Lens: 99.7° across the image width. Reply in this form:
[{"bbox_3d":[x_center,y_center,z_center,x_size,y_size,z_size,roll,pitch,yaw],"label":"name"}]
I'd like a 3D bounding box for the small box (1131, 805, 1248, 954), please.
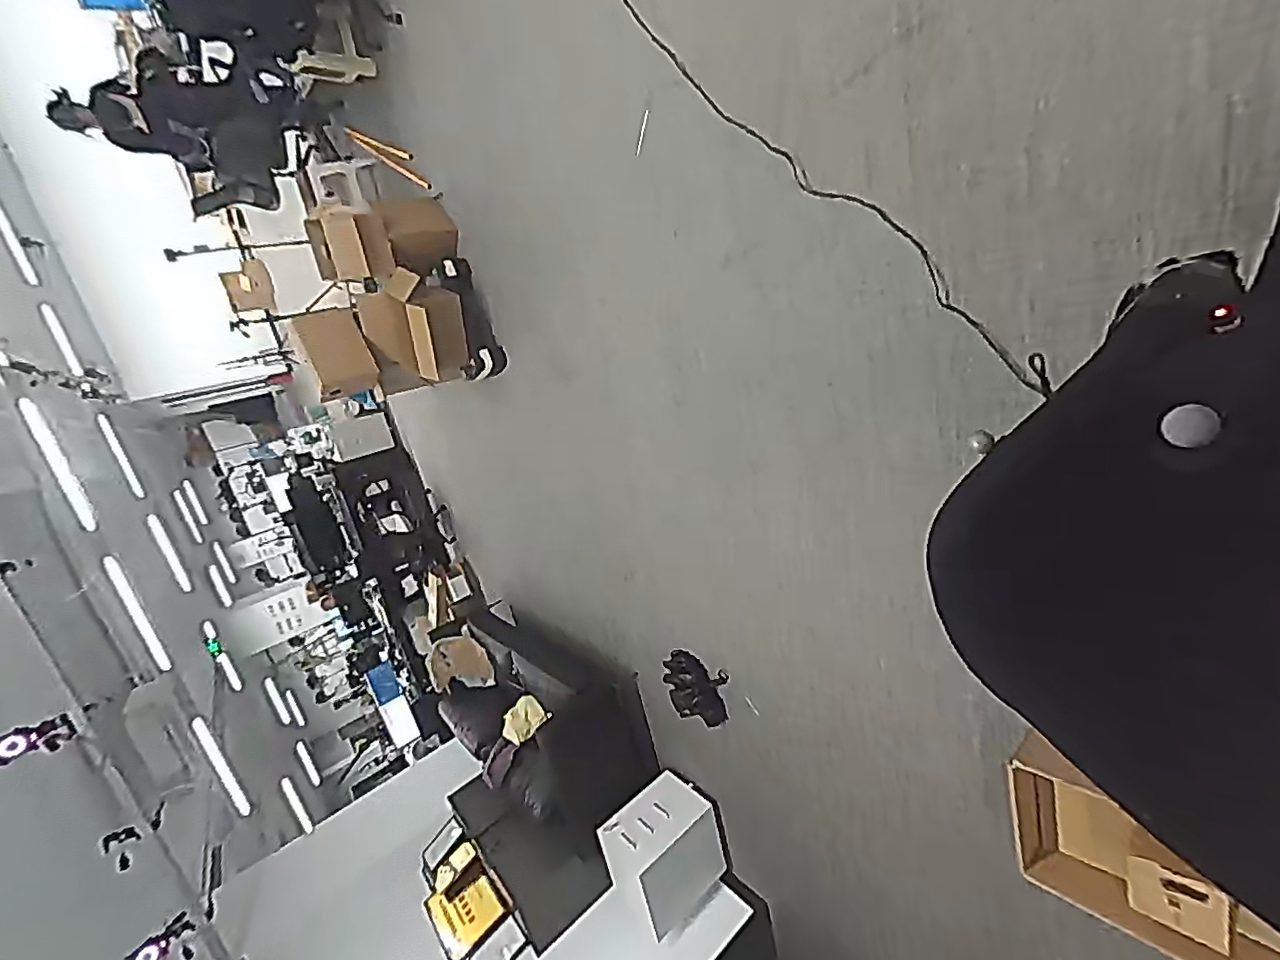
[{"bbox_3d":[1.245,0.890,1.227,0.168,0.176,0.179,3,113,53],"label":"small box"}]
